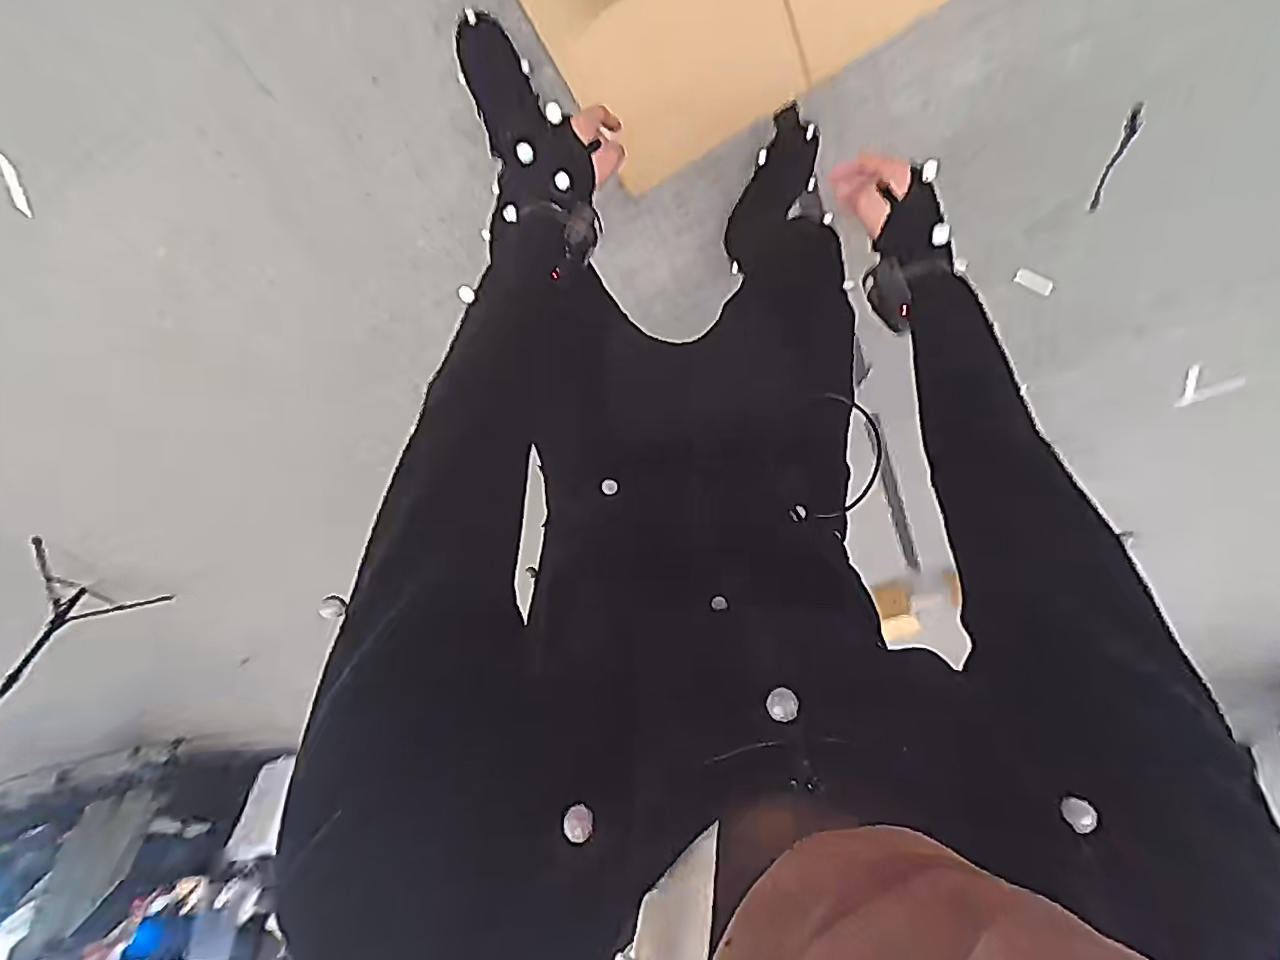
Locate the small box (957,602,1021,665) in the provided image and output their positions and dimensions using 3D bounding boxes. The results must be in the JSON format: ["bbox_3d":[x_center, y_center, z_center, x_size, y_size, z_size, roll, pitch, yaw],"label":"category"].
[{"bbox_3d":[1.391,0.611,2.159,0.168,0.176,0.179,-20,132,18],"label":"small box"}]

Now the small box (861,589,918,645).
[{"bbox_3d":[1.095,0.599,2.381,0.168,0.176,0.179,-23,133,21],"label":"small box"}]
